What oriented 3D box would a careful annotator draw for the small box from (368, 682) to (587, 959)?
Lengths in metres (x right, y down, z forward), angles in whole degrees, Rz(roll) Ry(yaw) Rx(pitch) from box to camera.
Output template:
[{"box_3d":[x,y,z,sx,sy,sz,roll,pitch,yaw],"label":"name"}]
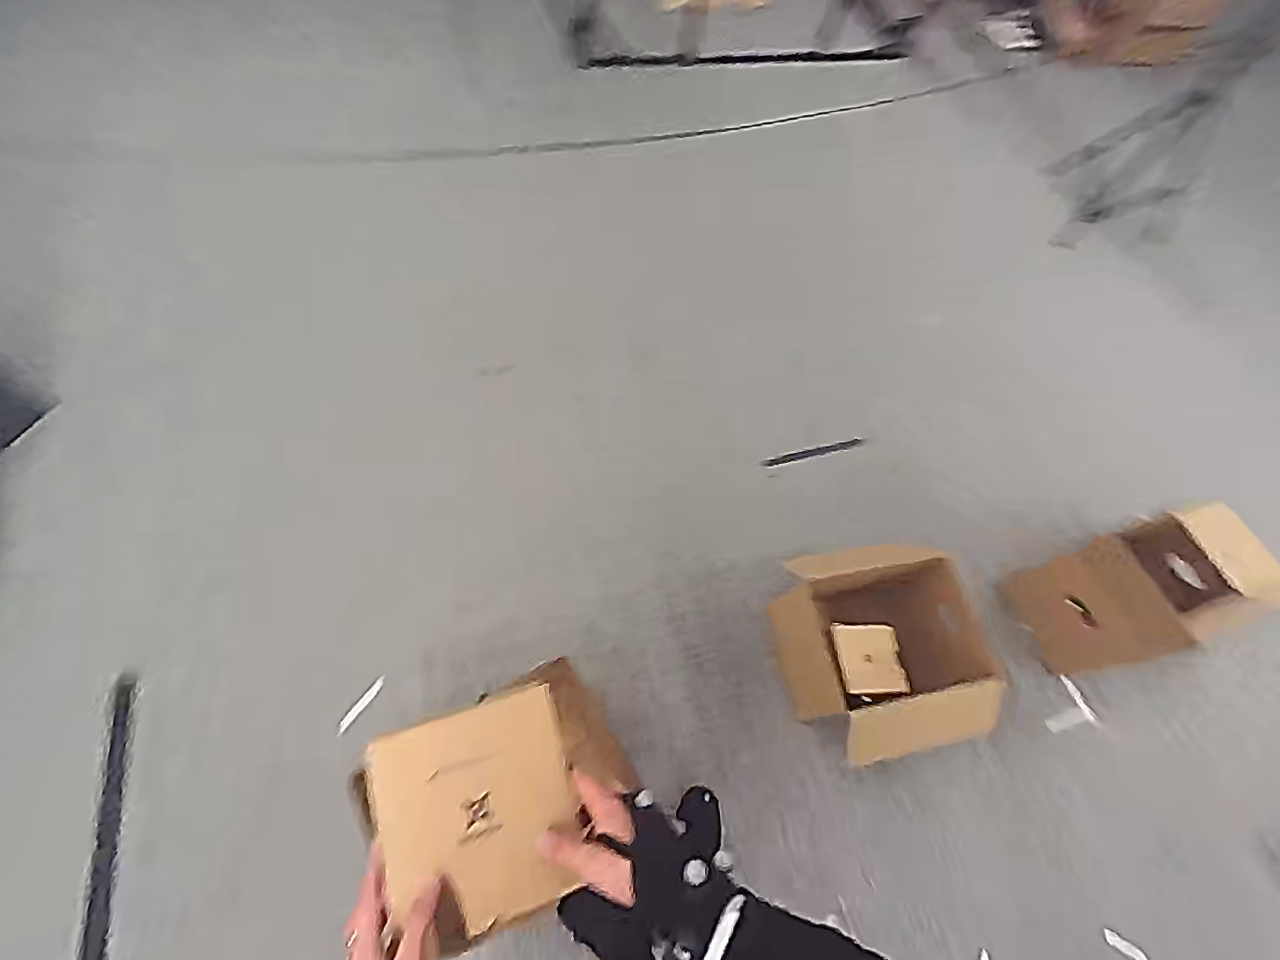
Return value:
[{"box_3d":[-0.161,0.318,0.553,0.168,0.176,0.179,-11,75,-18],"label":"small box"}]
